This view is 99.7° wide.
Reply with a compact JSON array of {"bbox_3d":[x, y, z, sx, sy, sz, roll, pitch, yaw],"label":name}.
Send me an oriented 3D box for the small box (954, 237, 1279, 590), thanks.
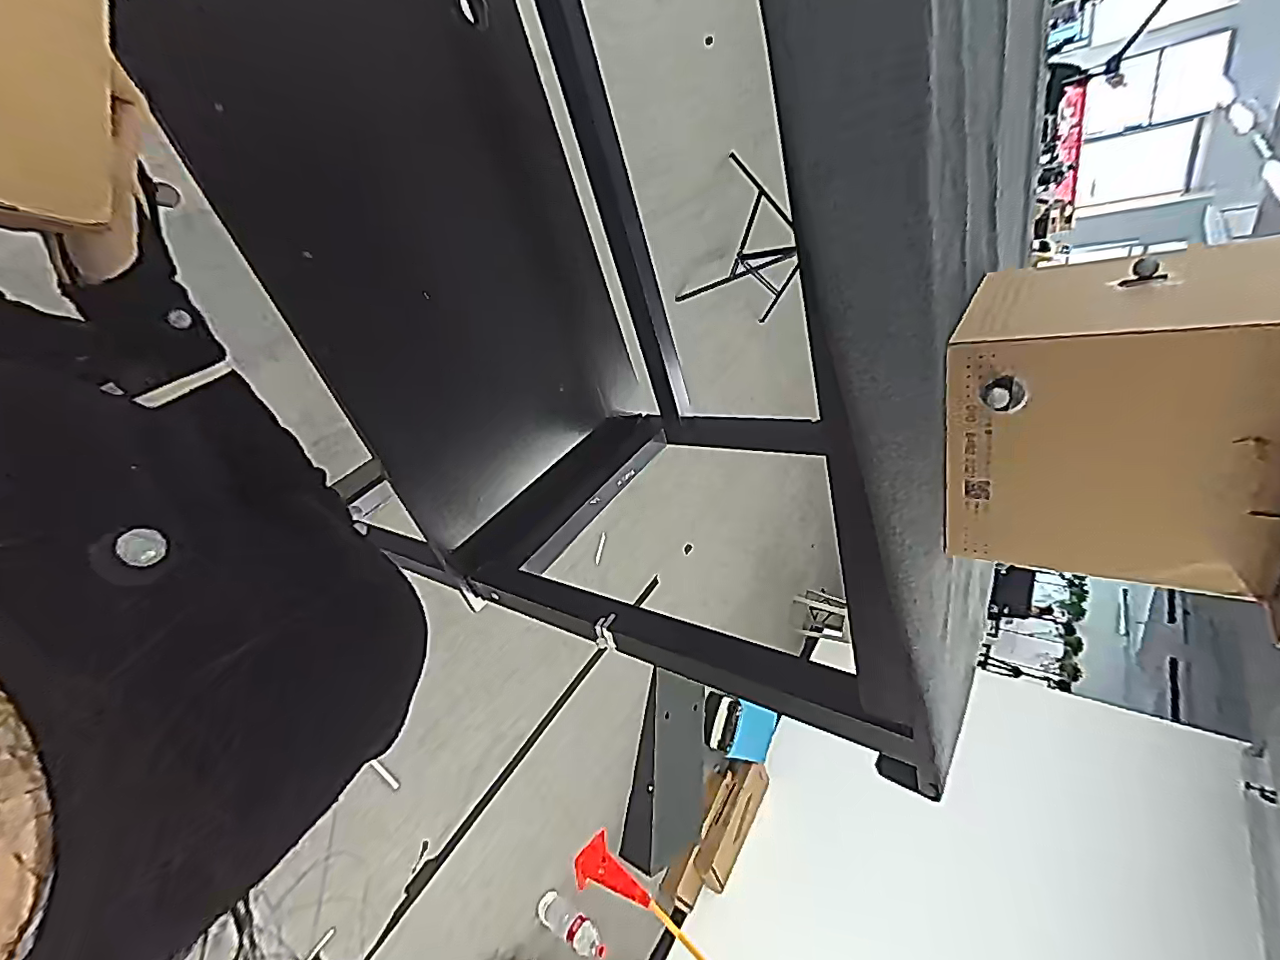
[{"bbox_3d":[0.327,-0.052,0.378,0.179,0.176,0.168,-43,127,-42],"label":"small box"}]
